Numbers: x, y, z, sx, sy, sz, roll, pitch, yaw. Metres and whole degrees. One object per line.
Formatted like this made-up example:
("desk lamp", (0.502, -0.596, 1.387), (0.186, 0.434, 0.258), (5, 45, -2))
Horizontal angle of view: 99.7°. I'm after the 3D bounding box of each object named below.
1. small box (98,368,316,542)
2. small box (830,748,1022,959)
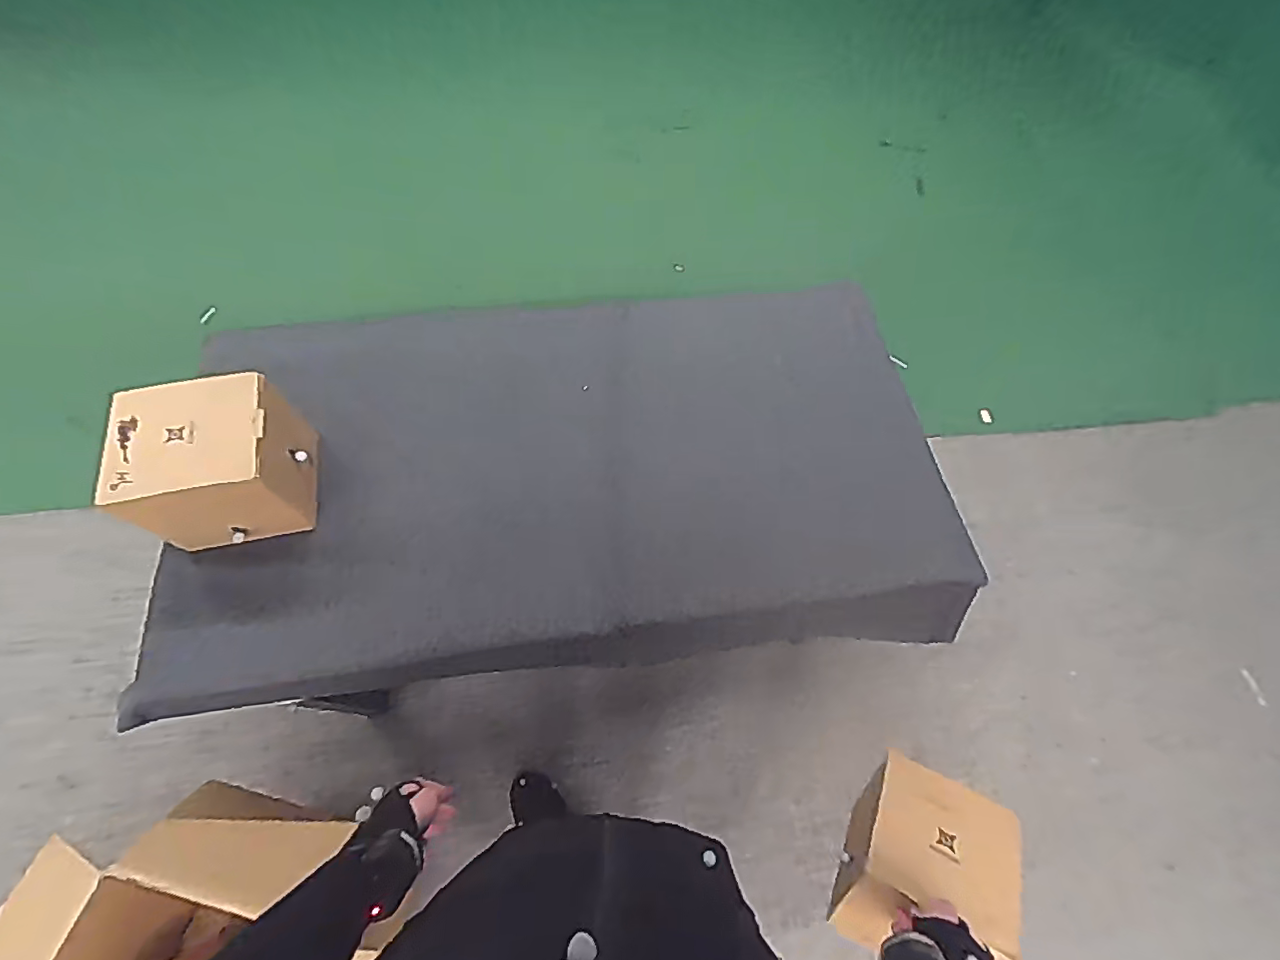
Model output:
("small box", (-0.572, -0.029, 0.746), (0.179, 0.176, 0.168), (-10, 65, -11))
("small box", (0.363, 0.502, 0.700), (0.168, 0.176, 0.179), (23, 38, 21))
